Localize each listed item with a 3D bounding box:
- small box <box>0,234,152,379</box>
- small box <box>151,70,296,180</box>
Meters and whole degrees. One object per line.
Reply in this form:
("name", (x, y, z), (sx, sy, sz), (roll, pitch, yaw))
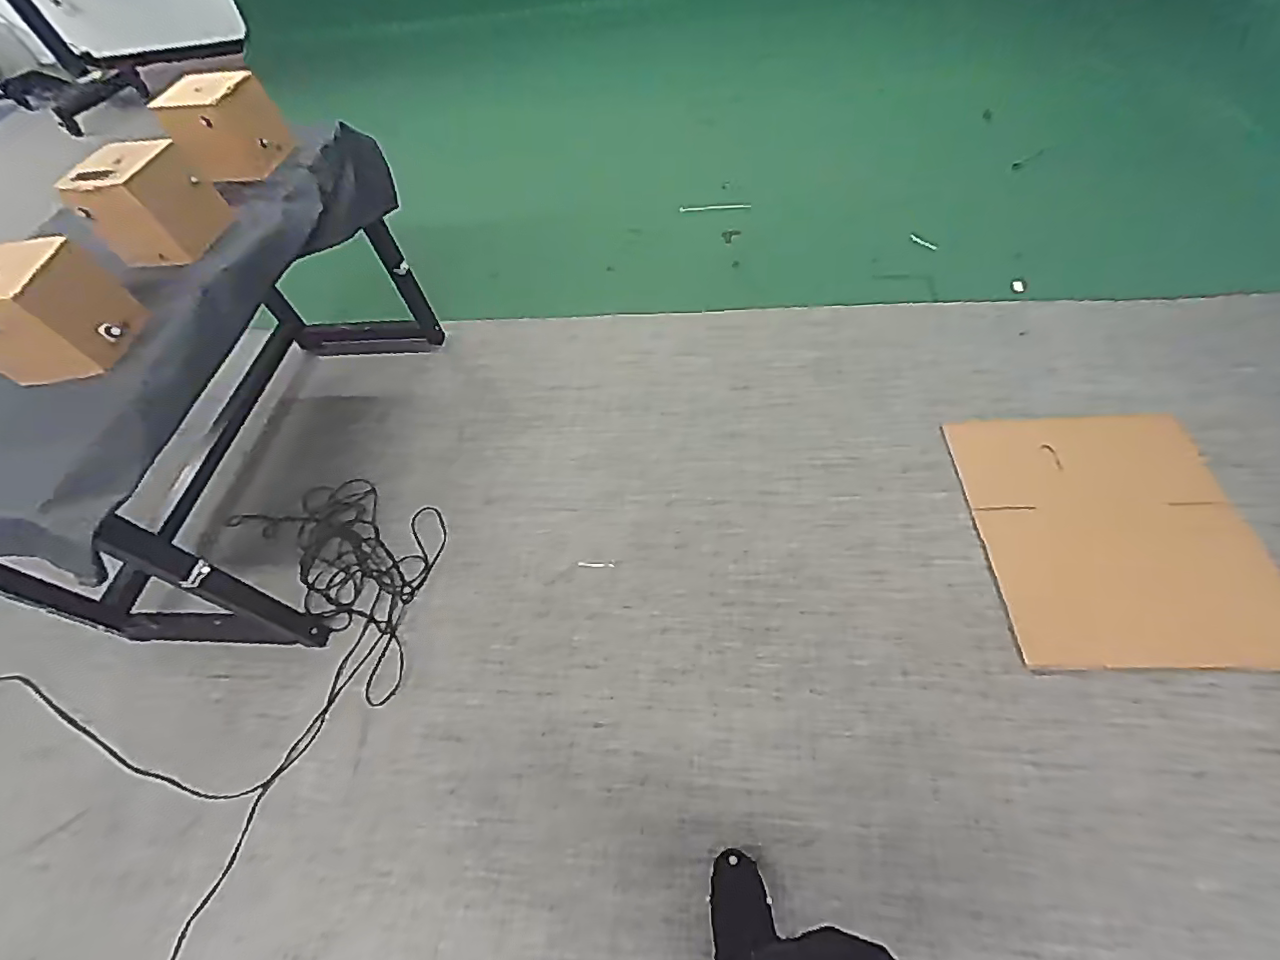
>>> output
("small box", (-1.024, -0.292, 0.935), (0.179, 0.176, 0.168), (-6, 57, 3))
("small box", (-0.978, -0.838, 1.287), (0.179, 0.176, 0.168), (4, 58, 10))
